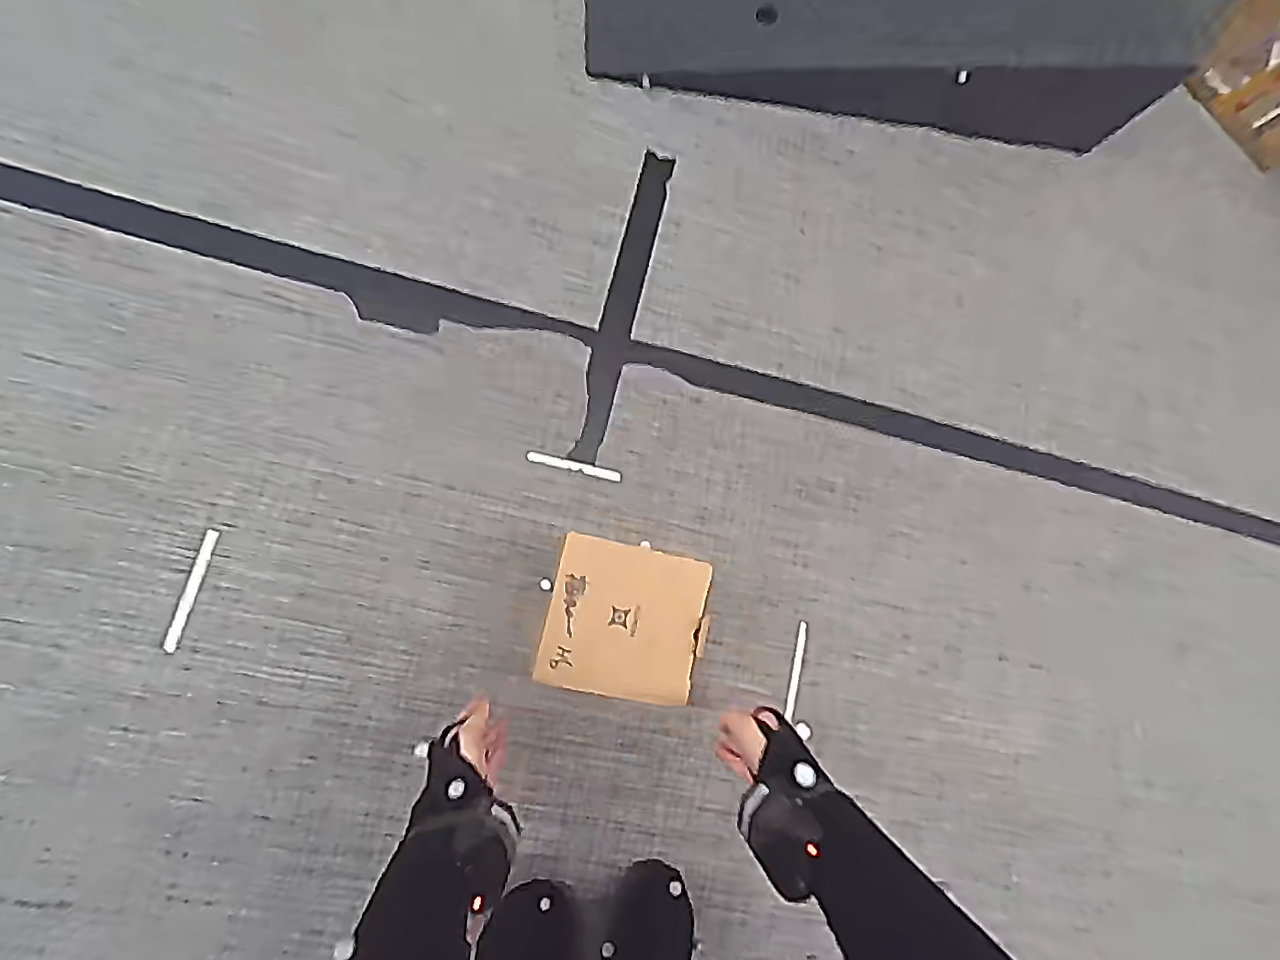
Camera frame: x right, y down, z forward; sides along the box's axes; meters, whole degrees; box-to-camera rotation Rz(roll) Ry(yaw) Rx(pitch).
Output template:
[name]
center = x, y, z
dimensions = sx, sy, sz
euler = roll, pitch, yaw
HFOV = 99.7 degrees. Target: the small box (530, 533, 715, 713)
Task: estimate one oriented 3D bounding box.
[small box]
center = -0.030, 0.165, 0.665
dimensions = 0.179, 0.176, 0.168
euler = 15, 79, -9
